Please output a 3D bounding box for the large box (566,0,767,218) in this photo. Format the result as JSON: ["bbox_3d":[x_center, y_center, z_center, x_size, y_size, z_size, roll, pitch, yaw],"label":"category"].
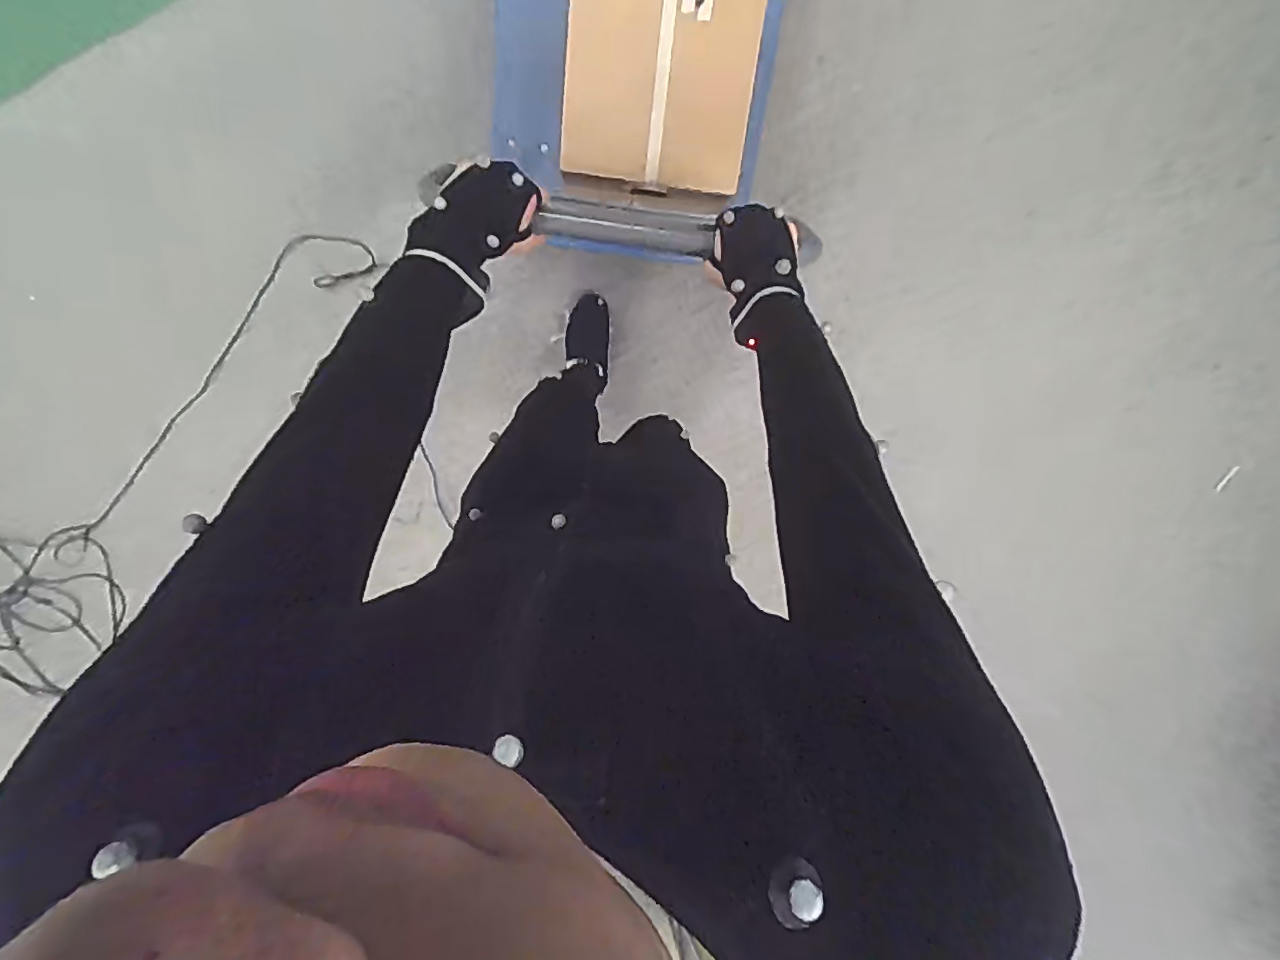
[{"bbox_3d":[0.037,-0.758,1.041,0.320,0.320,0.408,6,108,-6],"label":"large box"}]
